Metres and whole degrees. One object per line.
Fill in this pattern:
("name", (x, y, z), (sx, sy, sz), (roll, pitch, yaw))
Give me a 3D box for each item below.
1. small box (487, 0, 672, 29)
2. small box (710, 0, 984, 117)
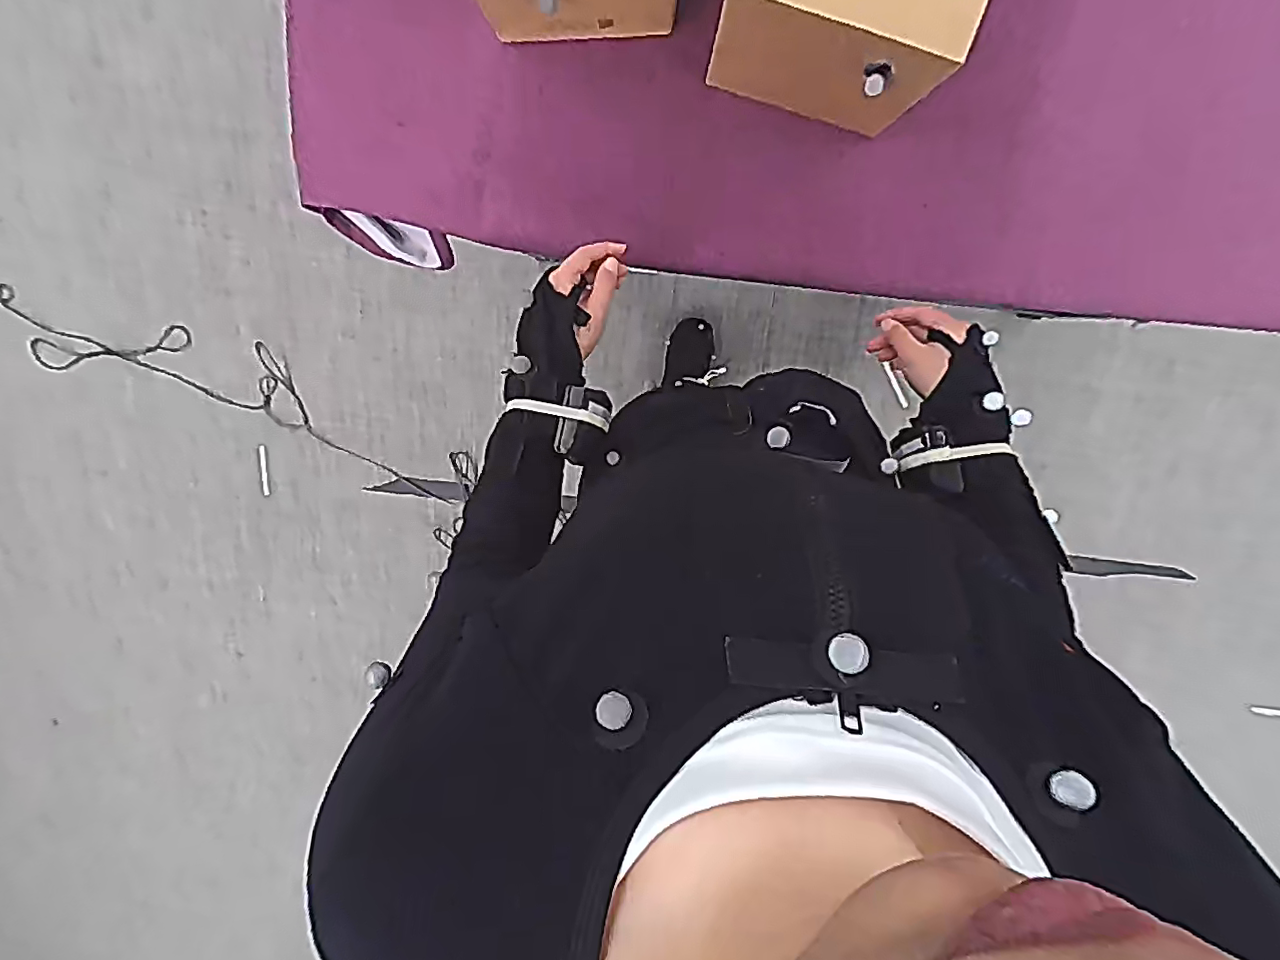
("small box", (-0.057, -0.481, 0.412), (0.168, 0.176, 0.179), (-2, 108, 2))
("small box", (0.166, -0.418, 0.424), (0.179, 0.176, 0.168), (15, 106, -3))
